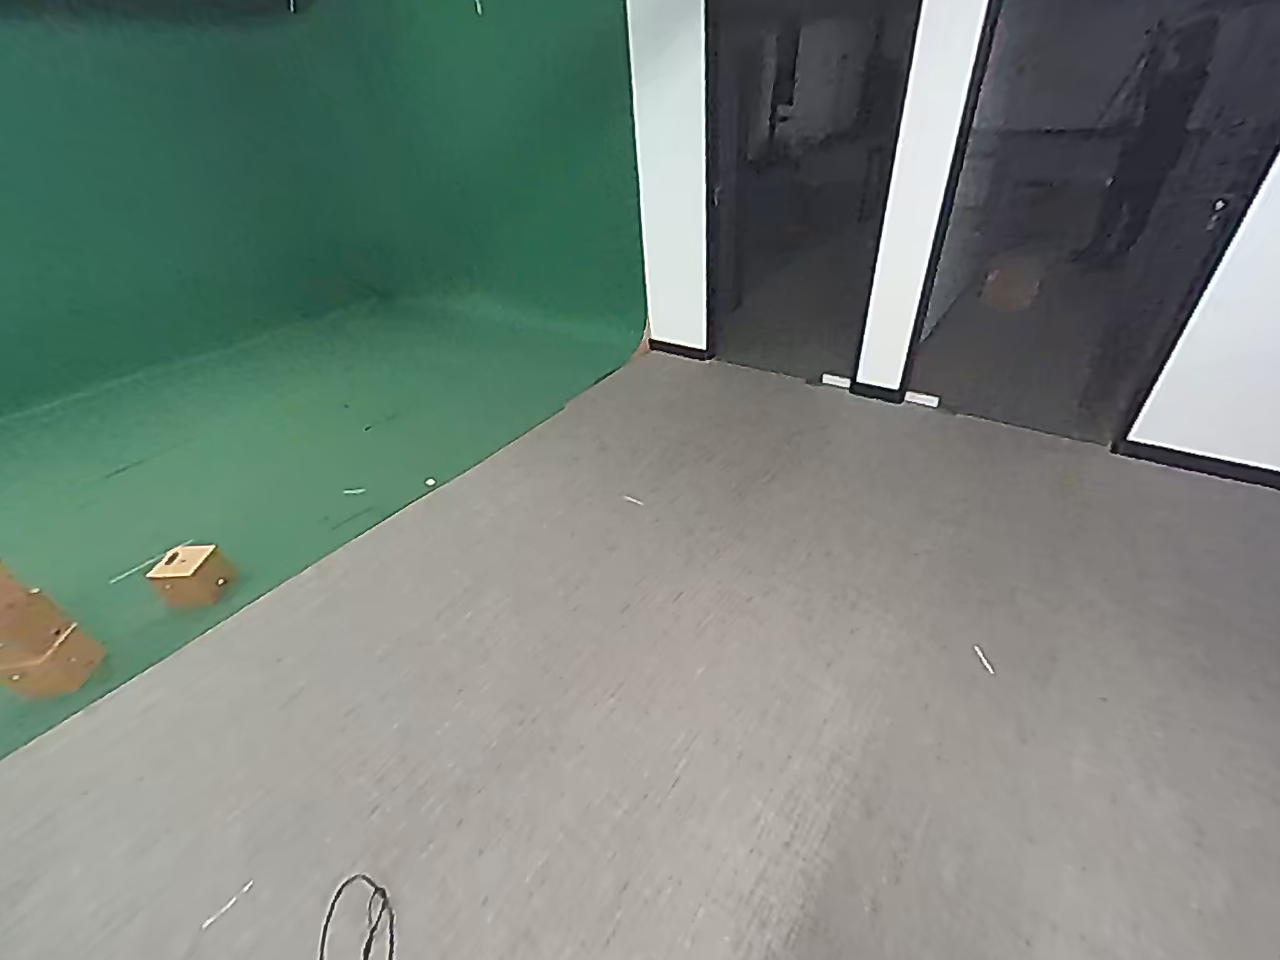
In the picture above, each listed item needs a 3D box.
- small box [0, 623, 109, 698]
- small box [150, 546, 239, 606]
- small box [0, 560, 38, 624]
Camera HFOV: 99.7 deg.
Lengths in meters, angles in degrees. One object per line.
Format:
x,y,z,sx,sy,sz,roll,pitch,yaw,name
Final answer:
-1.996,0.617,1.845,0.179,0.176,0.168,-8,37,-3,small box
-1.746,0.380,2.128,0.179,0.176,0.168,-3,36,2,small box
-2.041,0.352,1.654,0.179,0.176,0.168,4,38,12,small box
